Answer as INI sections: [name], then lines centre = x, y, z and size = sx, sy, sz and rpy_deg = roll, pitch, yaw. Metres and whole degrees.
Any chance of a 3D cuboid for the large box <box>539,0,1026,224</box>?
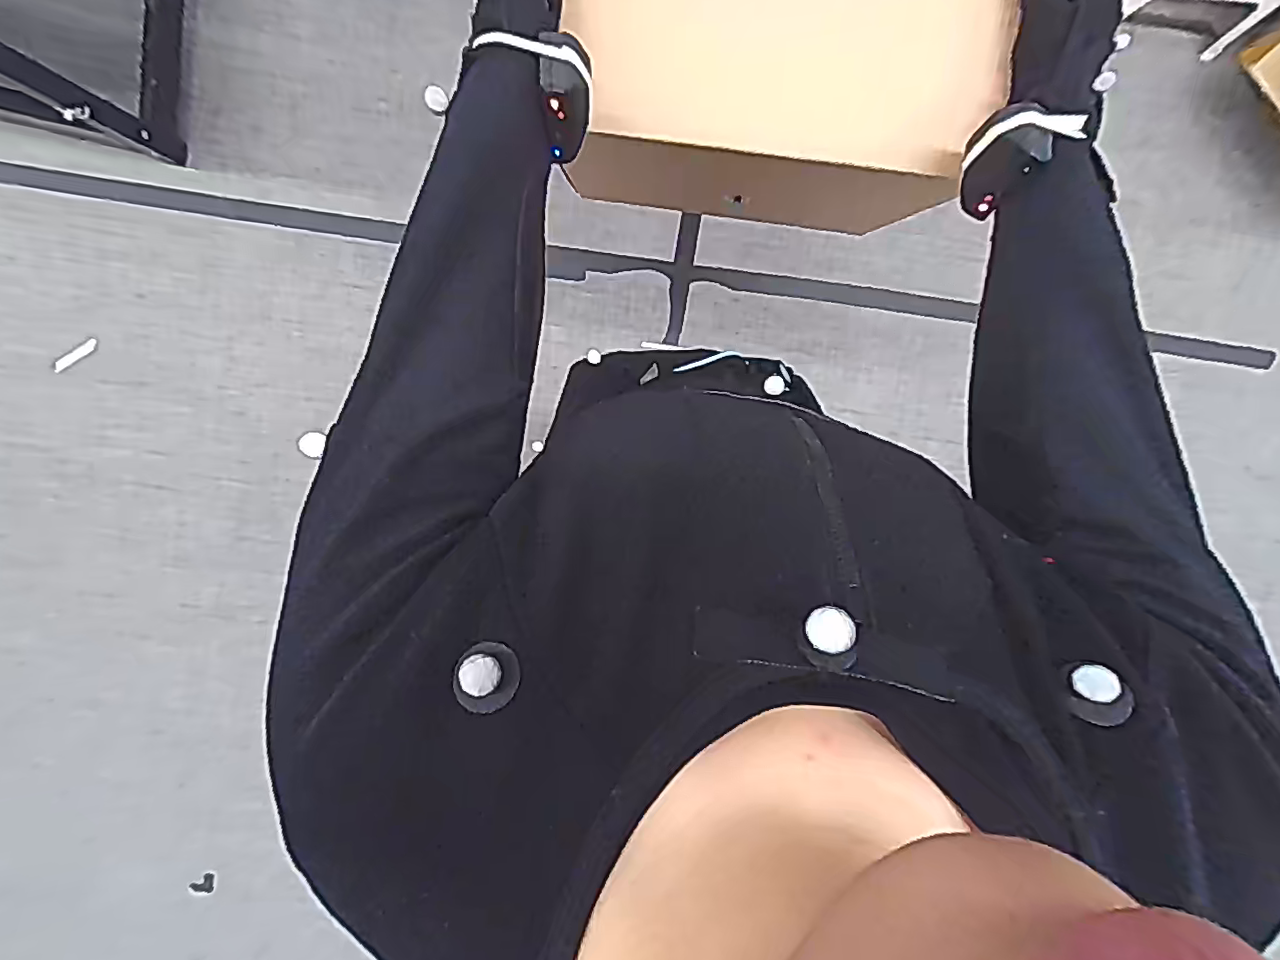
[large box]
centre = 0.129, -0.479, 0.577
size = 0.408, 0.320, 0.320
rpy_deg = 7, 106, -1
